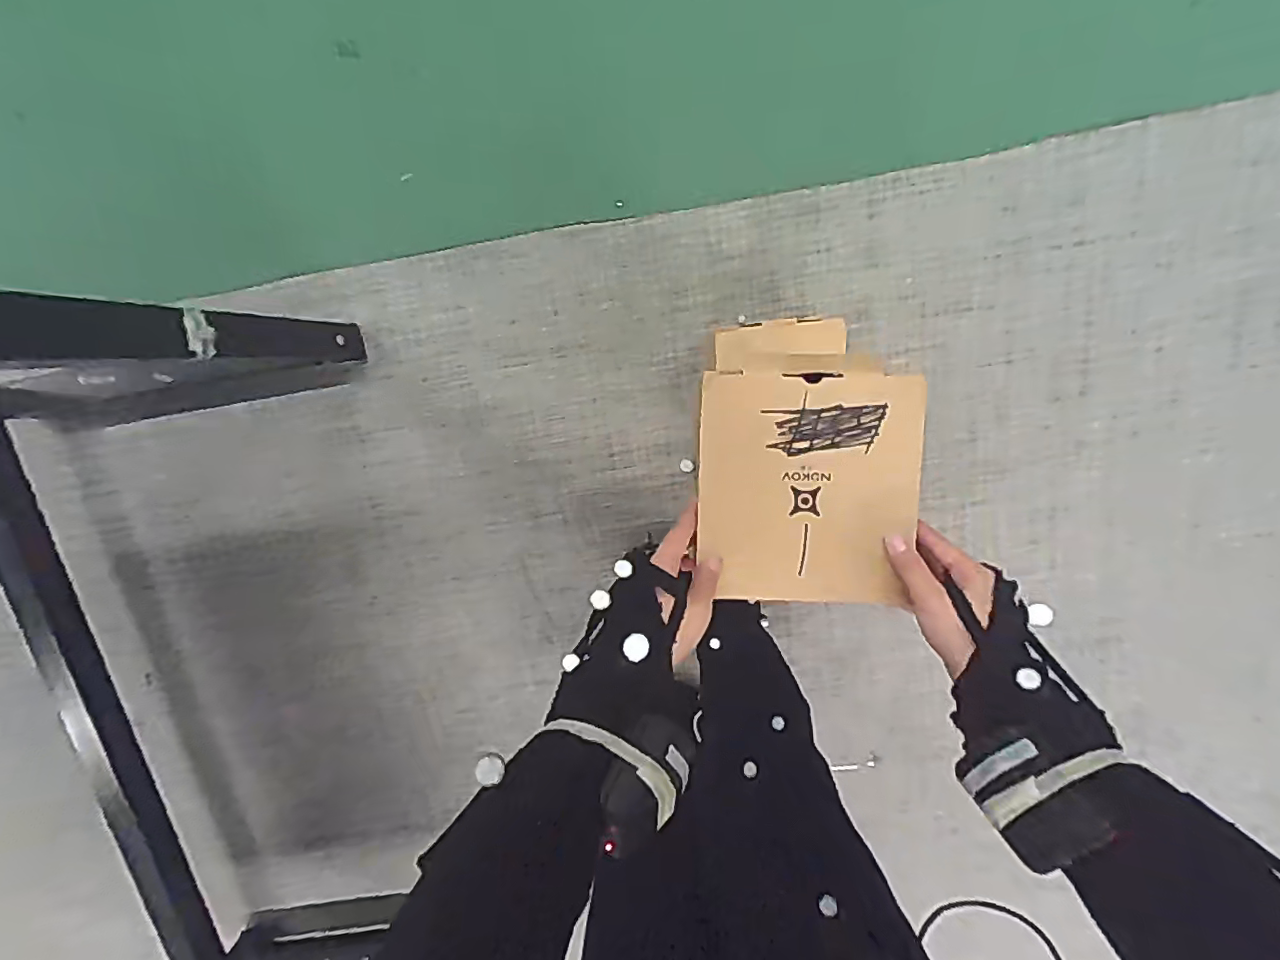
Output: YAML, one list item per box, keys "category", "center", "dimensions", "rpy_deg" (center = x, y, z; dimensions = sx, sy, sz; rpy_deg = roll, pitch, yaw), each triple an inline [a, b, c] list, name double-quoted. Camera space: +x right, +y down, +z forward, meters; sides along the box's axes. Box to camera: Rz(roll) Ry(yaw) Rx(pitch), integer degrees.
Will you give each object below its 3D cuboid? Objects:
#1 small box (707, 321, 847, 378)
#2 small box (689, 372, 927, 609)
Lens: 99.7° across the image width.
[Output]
- category: "small box"
  center: [0.188, -0.128, 0.779]
  dimensions: [0.168, 0.176, 0.179]
  rpy_deg: [-4, 103, 3]
- category: "small box"
  center: [0.131, 0.002, 0.485]
  dimensions: [0.168, 0.176, 0.179]
  rpy_deg: [1, 96, 3]
